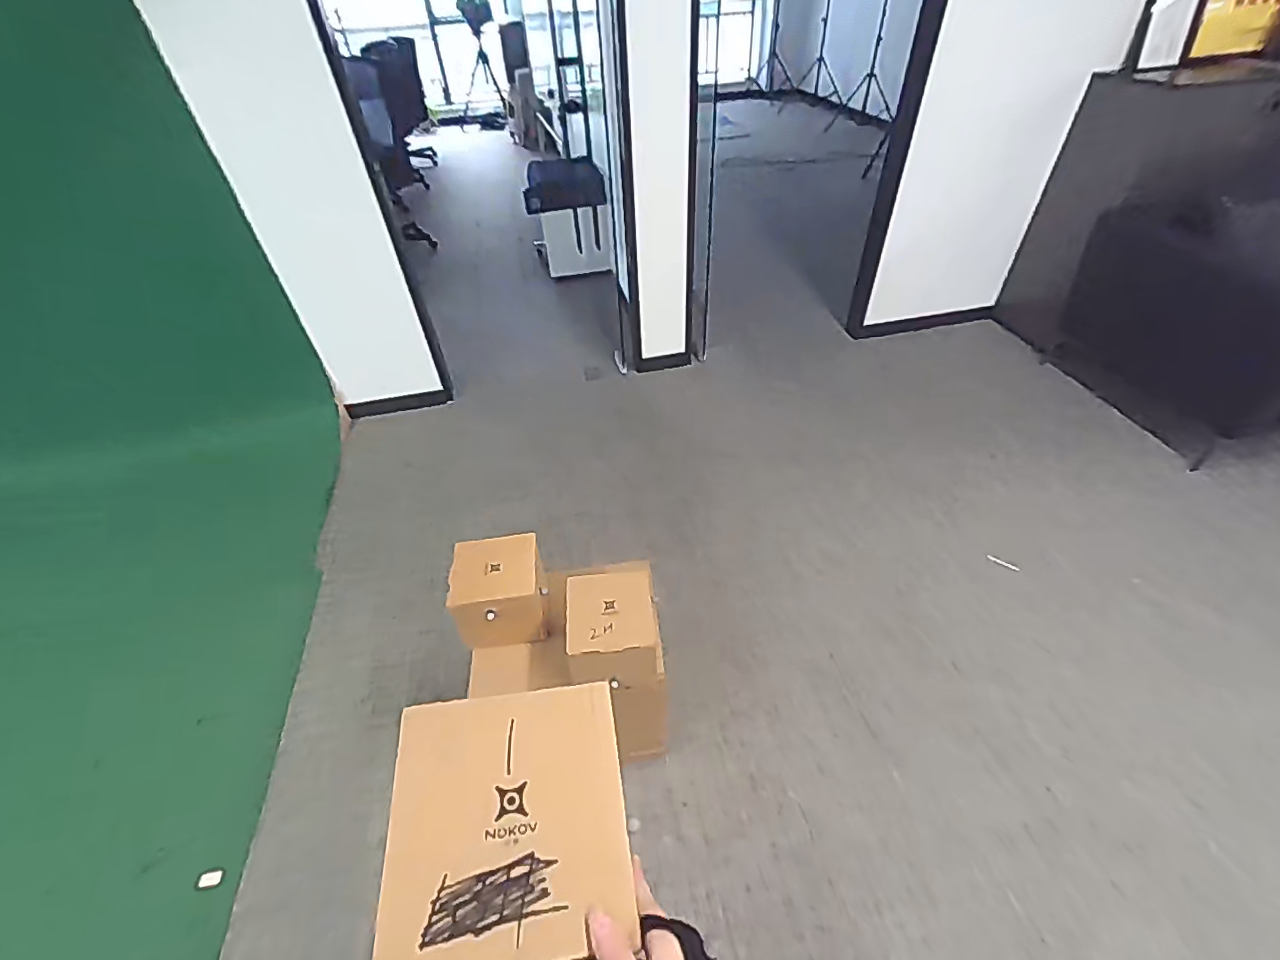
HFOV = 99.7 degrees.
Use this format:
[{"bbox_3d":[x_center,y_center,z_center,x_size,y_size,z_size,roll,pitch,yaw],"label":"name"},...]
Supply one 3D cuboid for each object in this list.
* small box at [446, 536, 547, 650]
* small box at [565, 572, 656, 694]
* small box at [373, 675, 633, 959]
[{"bbox_3d":[-0.299,0.245,1.171,0.179,0.176,0.168,-7,43,-3],"label":"small box"},{"bbox_3d":[-0.058,0.309,1.088,0.168,0.176,0.179,-5,43,-2],"label":"small box"},{"bbox_3d":[-0.101,0.288,0.450,0.168,0.176,0.179,-3,47,-10],"label":"small box"}]
